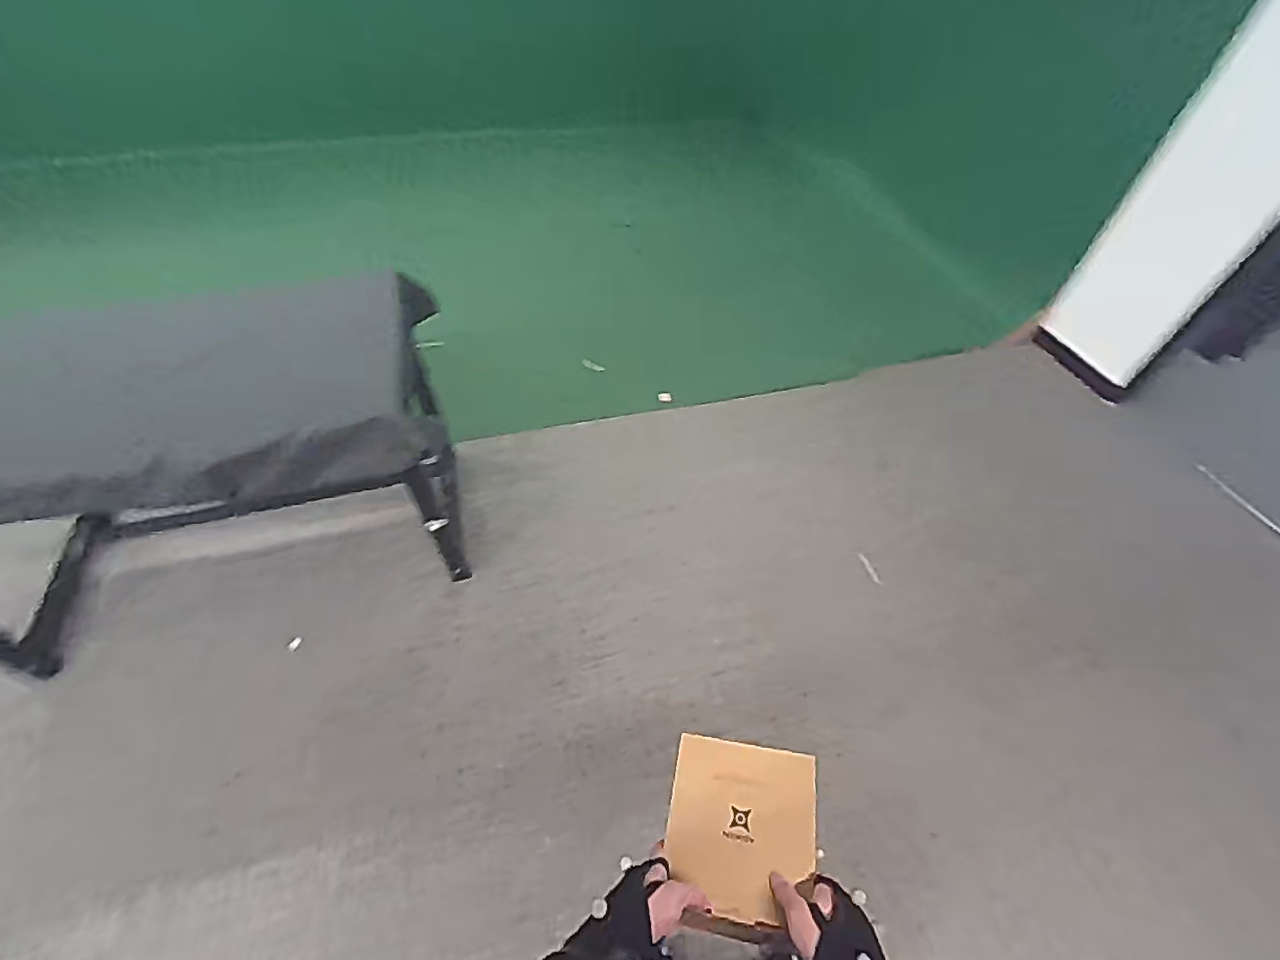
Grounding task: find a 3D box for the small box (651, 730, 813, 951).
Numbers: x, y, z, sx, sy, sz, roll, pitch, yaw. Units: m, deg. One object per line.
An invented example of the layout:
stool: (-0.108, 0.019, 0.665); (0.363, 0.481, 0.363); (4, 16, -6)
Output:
small box: (0.117, 0.435, 0.653); (0.168, 0.176, 0.179); (4, 44, 13)
